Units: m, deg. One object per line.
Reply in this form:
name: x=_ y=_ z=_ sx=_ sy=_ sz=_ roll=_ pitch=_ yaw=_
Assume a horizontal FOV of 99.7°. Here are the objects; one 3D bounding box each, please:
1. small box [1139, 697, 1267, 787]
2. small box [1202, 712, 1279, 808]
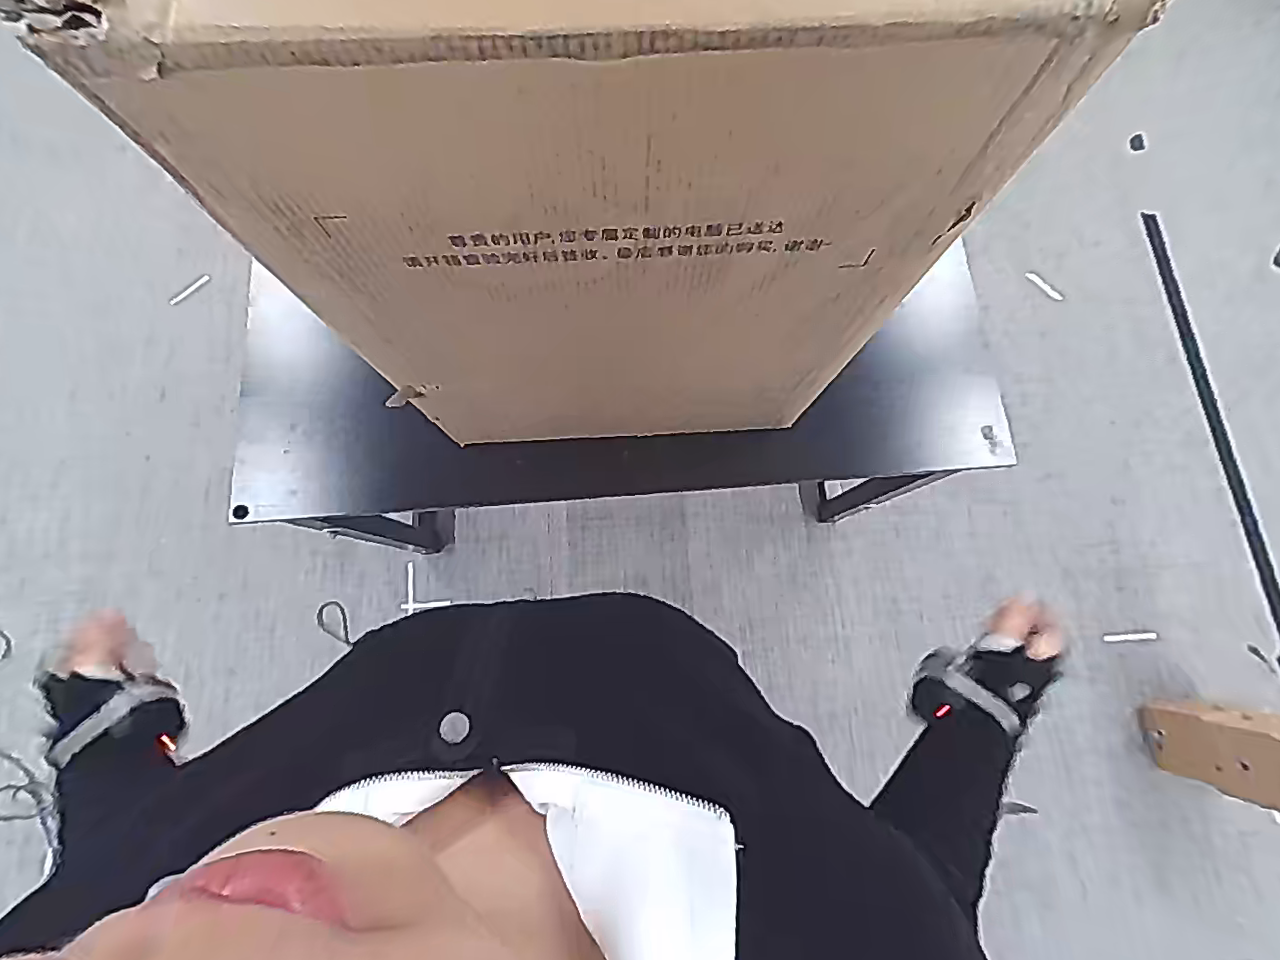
small box: x=1.442 y=0.658 z=1.372 sx=0.179 sy=0.176 sz=0.168 roll=-6 pitch=76 yaw=-1
small box: x=1.429 y=0.626 z=1.210 sx=0.179 sy=0.176 sz=0.168 roll=-5 pitch=77 yaw=-2
